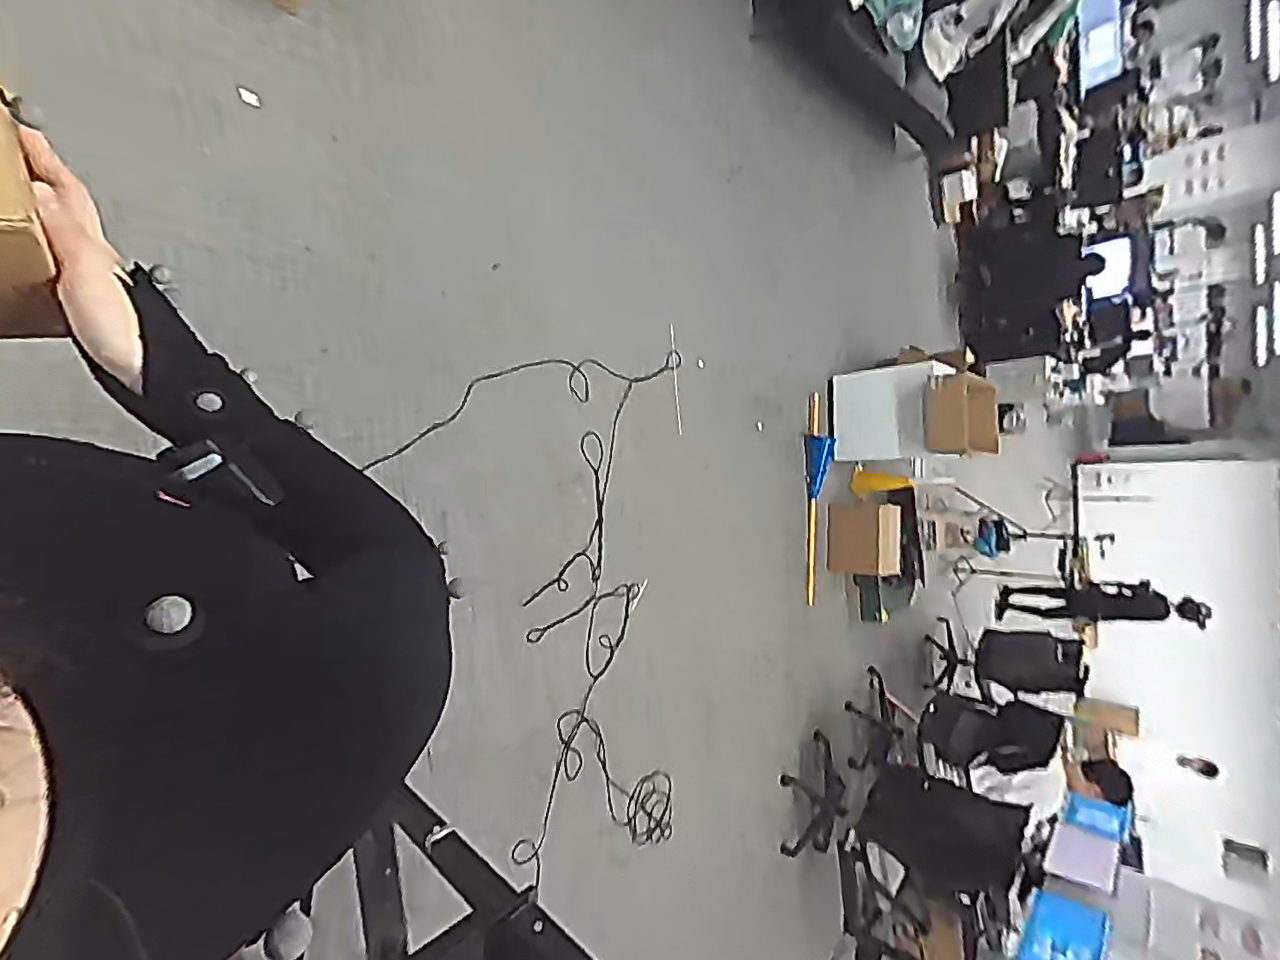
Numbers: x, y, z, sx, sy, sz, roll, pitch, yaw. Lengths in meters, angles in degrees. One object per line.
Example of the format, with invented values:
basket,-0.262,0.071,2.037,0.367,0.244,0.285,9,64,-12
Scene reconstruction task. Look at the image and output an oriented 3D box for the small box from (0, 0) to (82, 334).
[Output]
small box,-0.418,-0.183,0.268,0.168,0.176,0.179,-16,95,-42
